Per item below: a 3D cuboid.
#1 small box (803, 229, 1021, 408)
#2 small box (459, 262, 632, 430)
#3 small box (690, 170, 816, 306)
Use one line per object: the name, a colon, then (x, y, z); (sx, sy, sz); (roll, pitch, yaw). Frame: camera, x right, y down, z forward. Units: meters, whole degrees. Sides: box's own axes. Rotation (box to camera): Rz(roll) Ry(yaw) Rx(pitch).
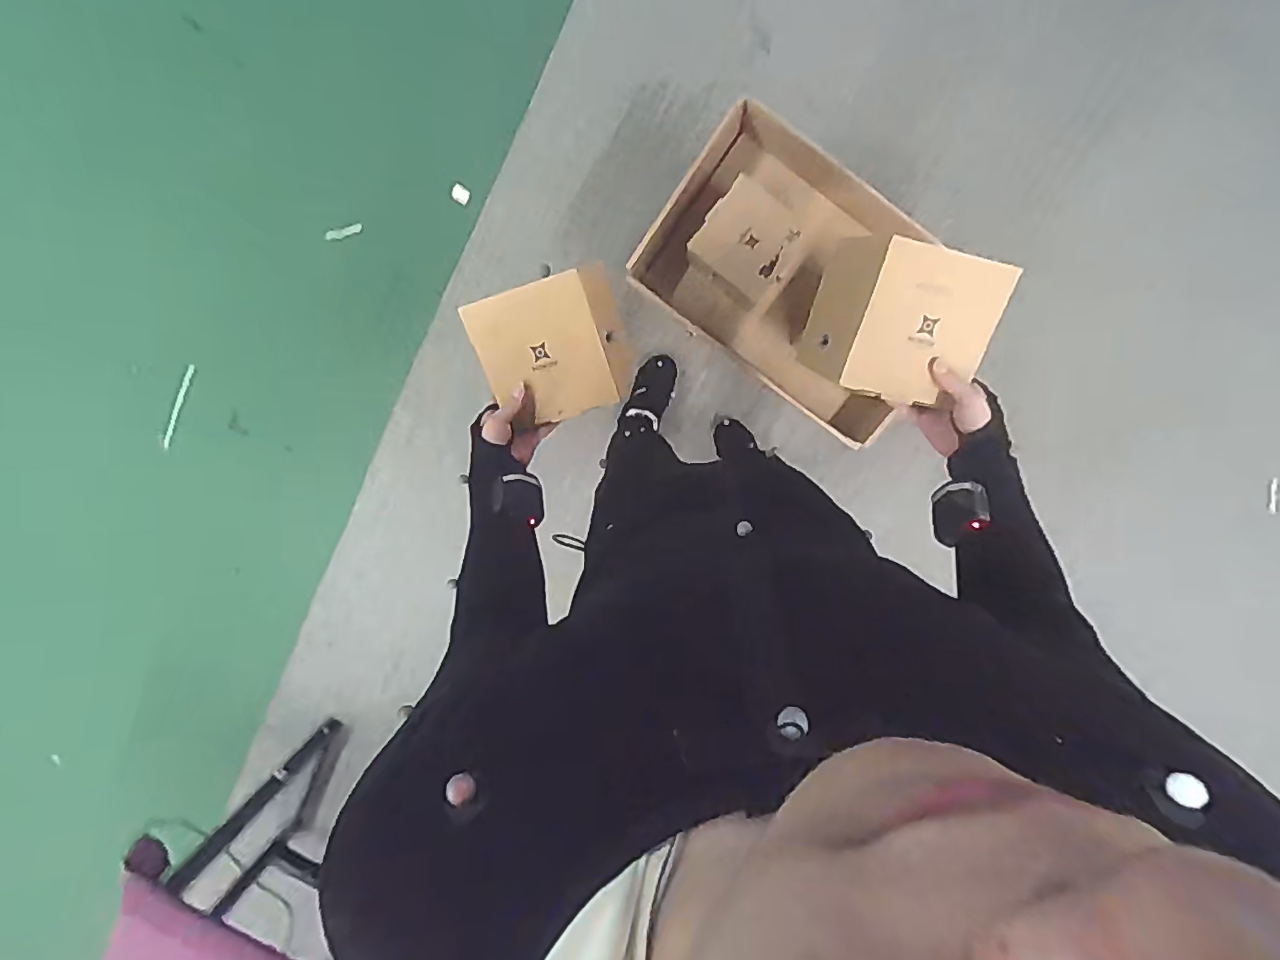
small box: (0.330, -0.212, 0.703); (0.168, 0.176, 0.179); (10, 111, -7)
small box: (-0.119, -0.196, 0.761); (0.168, 0.176, 0.179); (-14, 114, 13)
small box: (0.219, -0.473, 1.093); (0.179, 0.176, 0.168); (40, 103, -2)
